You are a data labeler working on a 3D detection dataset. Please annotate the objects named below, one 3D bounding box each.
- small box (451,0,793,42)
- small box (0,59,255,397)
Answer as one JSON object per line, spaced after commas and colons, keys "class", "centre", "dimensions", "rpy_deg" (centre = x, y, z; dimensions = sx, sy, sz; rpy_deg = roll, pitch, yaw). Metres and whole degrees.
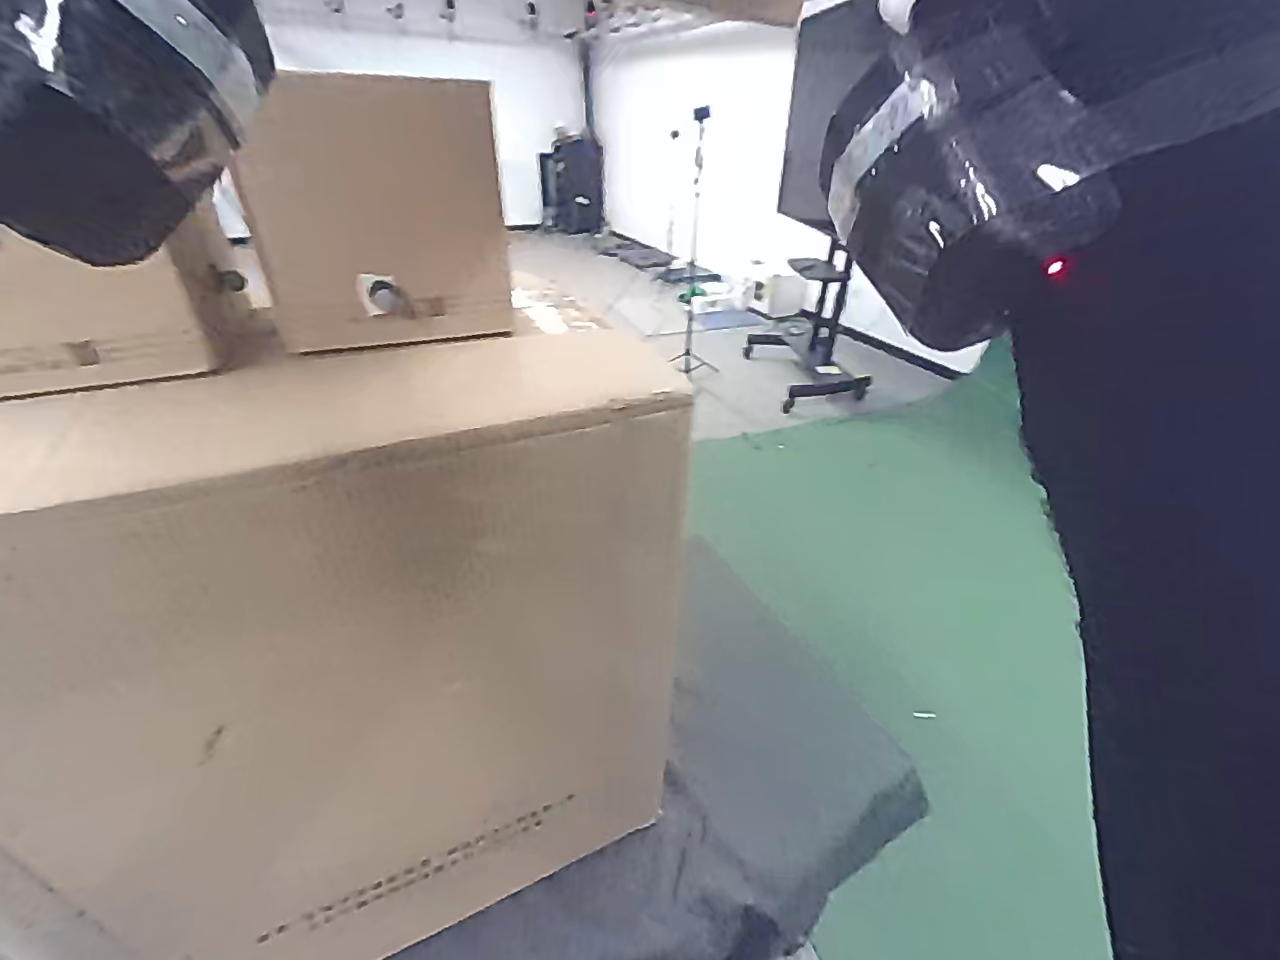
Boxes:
{"class": "small box", "centre": [-0.006, -0.318, 0.248], "dimensions": [0.179, 0.176, 0.168], "rpy_deg": [2, 40, -10]}
{"class": "small box", "centre": [-0.383, -0.164, 0.356], "dimensions": [0.168, 0.176, 0.179], "rpy_deg": [-14, 35, -21]}
